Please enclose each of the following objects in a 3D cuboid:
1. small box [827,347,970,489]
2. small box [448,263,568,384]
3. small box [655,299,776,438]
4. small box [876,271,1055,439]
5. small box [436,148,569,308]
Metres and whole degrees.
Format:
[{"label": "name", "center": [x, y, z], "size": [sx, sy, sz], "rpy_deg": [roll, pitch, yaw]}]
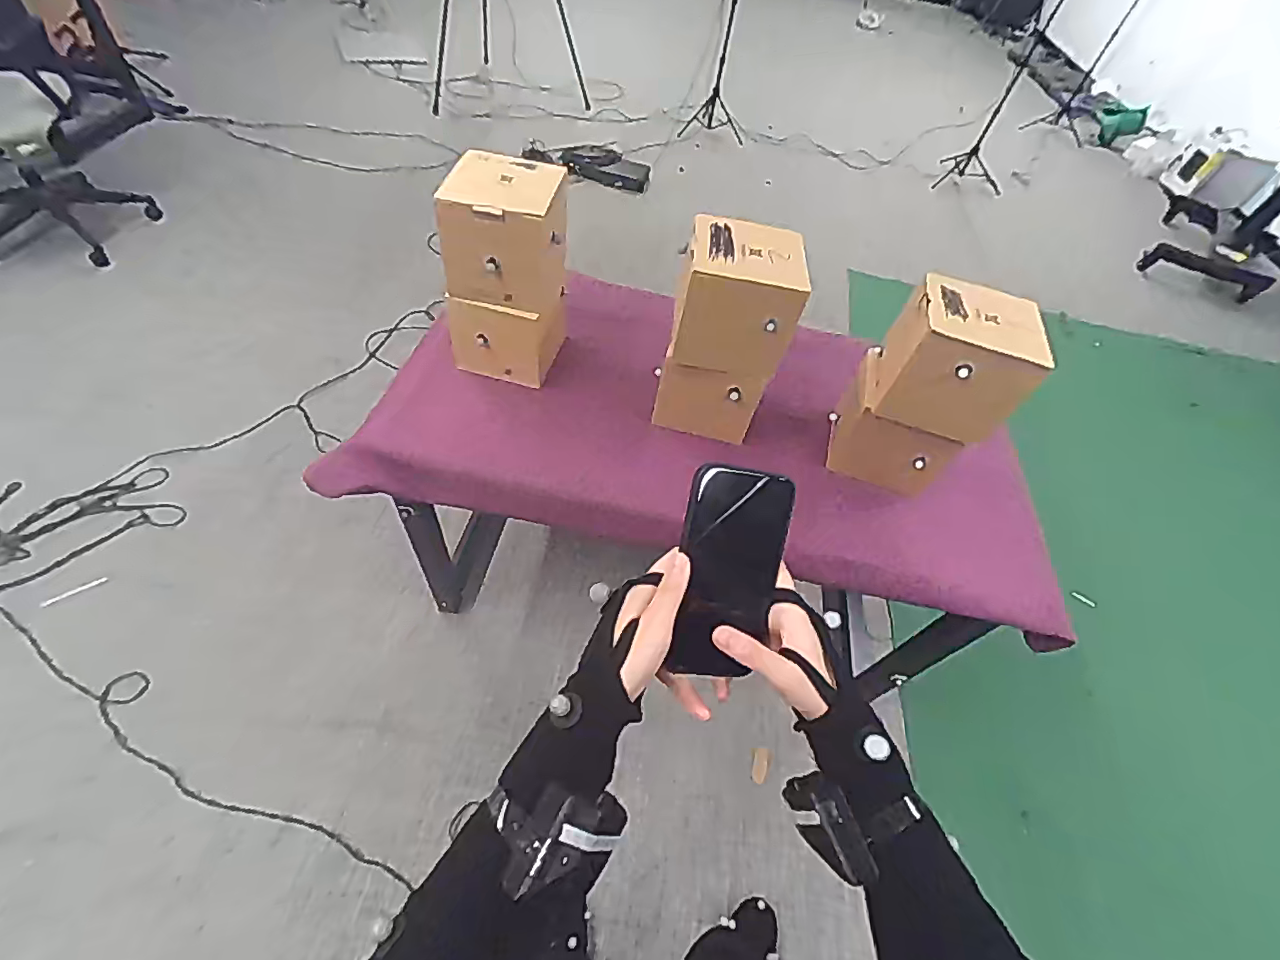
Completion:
[{"label": "small box", "center": [0.465, -0.106, 0.984], "size": [0.179, 0.176, 0.168], "rpy_deg": [19, 52, 6]}, {"label": "small box", "center": [-0.238, -0.309, 1.026], "size": [0.168, 0.176, 0.179], "rpy_deg": [14, 53, 2]}, {"label": "small box", "center": [0.137, -0.200, 1.001], "size": [0.179, 0.176, 0.168], "rpy_deg": [14, 53, 2]}, {"label": "small box", "center": [0.490, -0.190, 0.845], "size": [0.179, 0.176, 0.168], "rpy_deg": [19, 53, 5]}, {"label": "small box", "center": [-0.216, -0.413, 0.900], "size": [0.168, 0.176, 0.179], "rpy_deg": [11, 53, -2]}]
